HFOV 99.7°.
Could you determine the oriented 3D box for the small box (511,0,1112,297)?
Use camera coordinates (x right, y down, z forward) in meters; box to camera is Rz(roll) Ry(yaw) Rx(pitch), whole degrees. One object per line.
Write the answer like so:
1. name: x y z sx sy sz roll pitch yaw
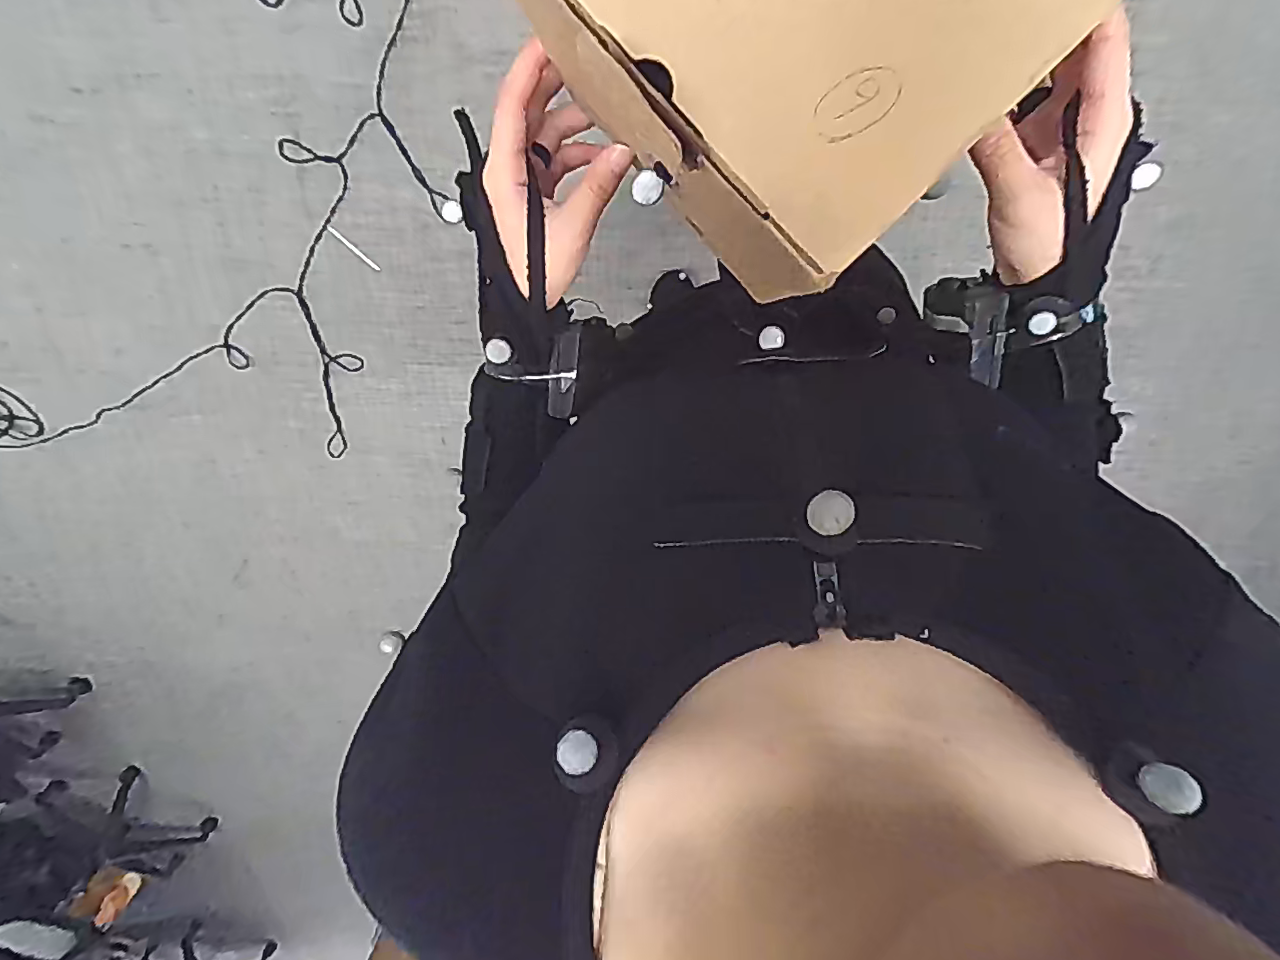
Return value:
1. small box: 0.070 -0.200 0.237 0.168 0.176 0.179 44 105 -7
